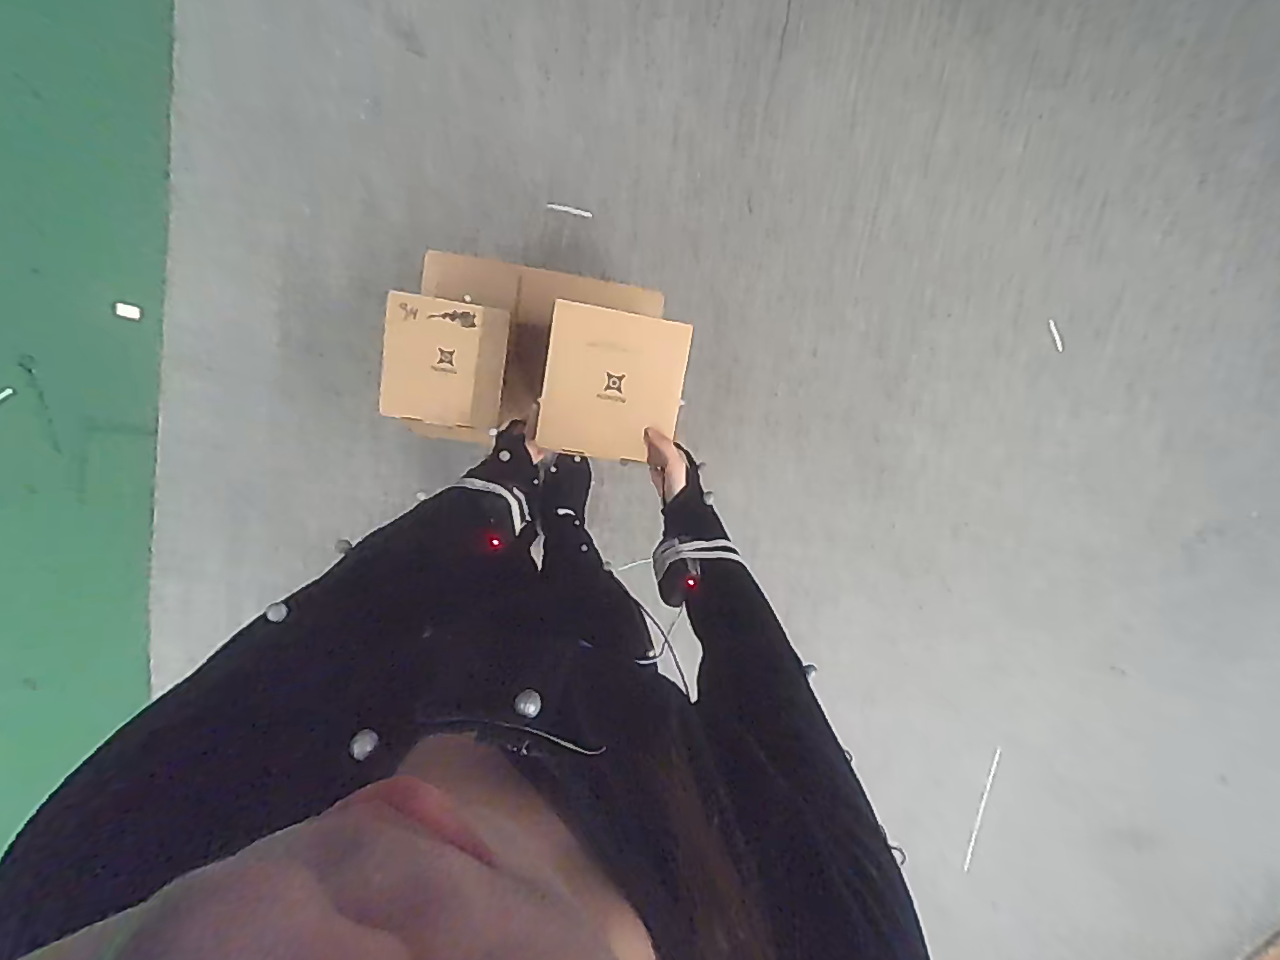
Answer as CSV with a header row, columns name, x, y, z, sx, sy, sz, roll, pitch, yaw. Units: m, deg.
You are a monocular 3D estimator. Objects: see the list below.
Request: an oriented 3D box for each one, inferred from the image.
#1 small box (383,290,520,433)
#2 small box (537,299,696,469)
name,x,y,z,sx,sy,sz,roll,pitch,yaw
small box,-0.283,-0.182,0.842,0.168,0.176,0.179,8,101,-11
small box,-0.036,-0.125,0.719,0.168,0.176,0.179,9,99,-8
